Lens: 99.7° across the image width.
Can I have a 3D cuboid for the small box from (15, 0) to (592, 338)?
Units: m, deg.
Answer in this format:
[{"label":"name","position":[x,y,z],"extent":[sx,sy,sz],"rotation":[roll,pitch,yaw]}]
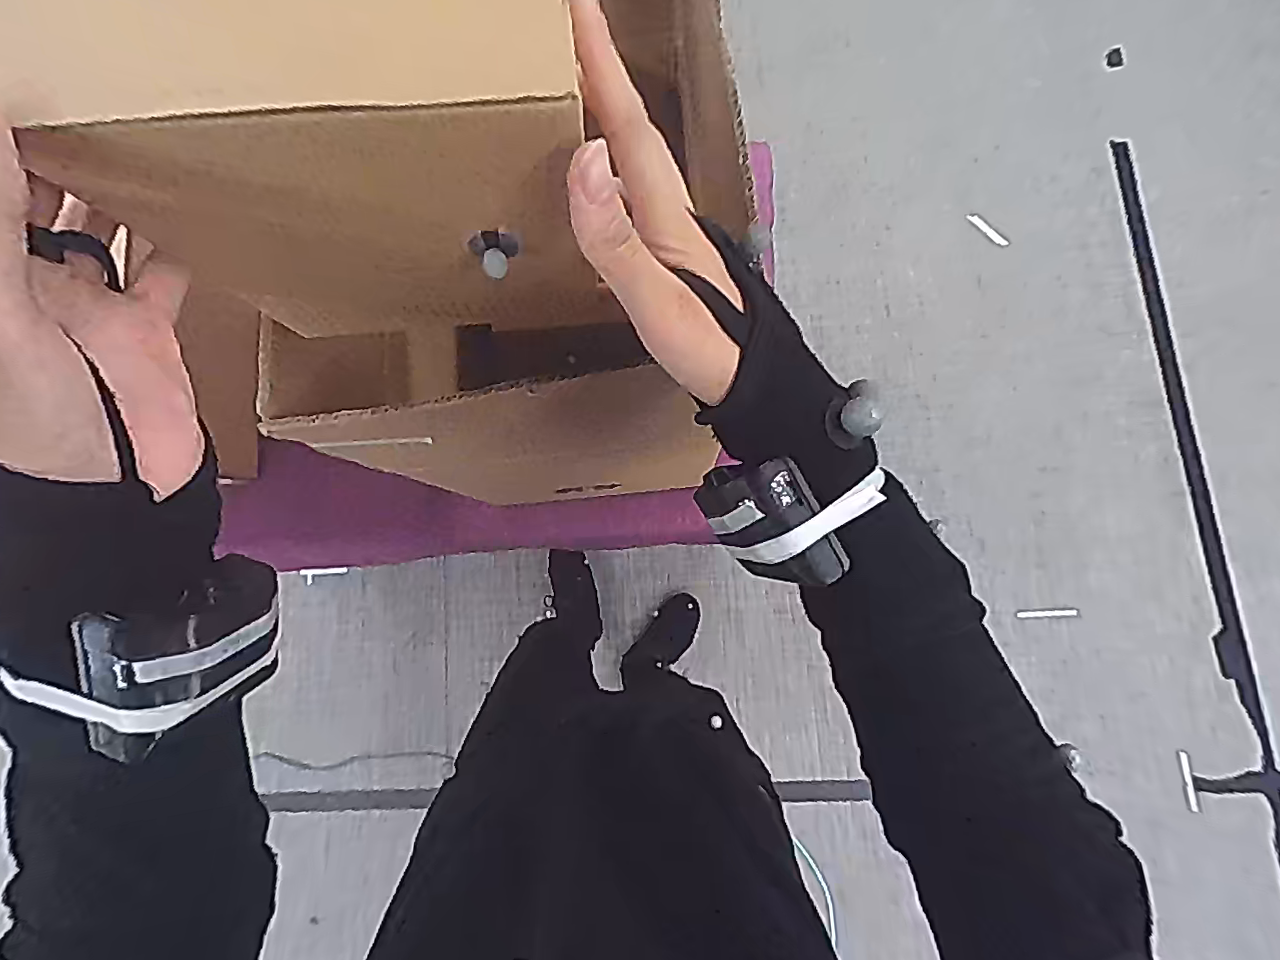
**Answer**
[{"label":"small box","position":[-0.115,-0.178,0.256],"extent":[0.179,0.176,0.168],"rotation":[-5,84,-2]}]
